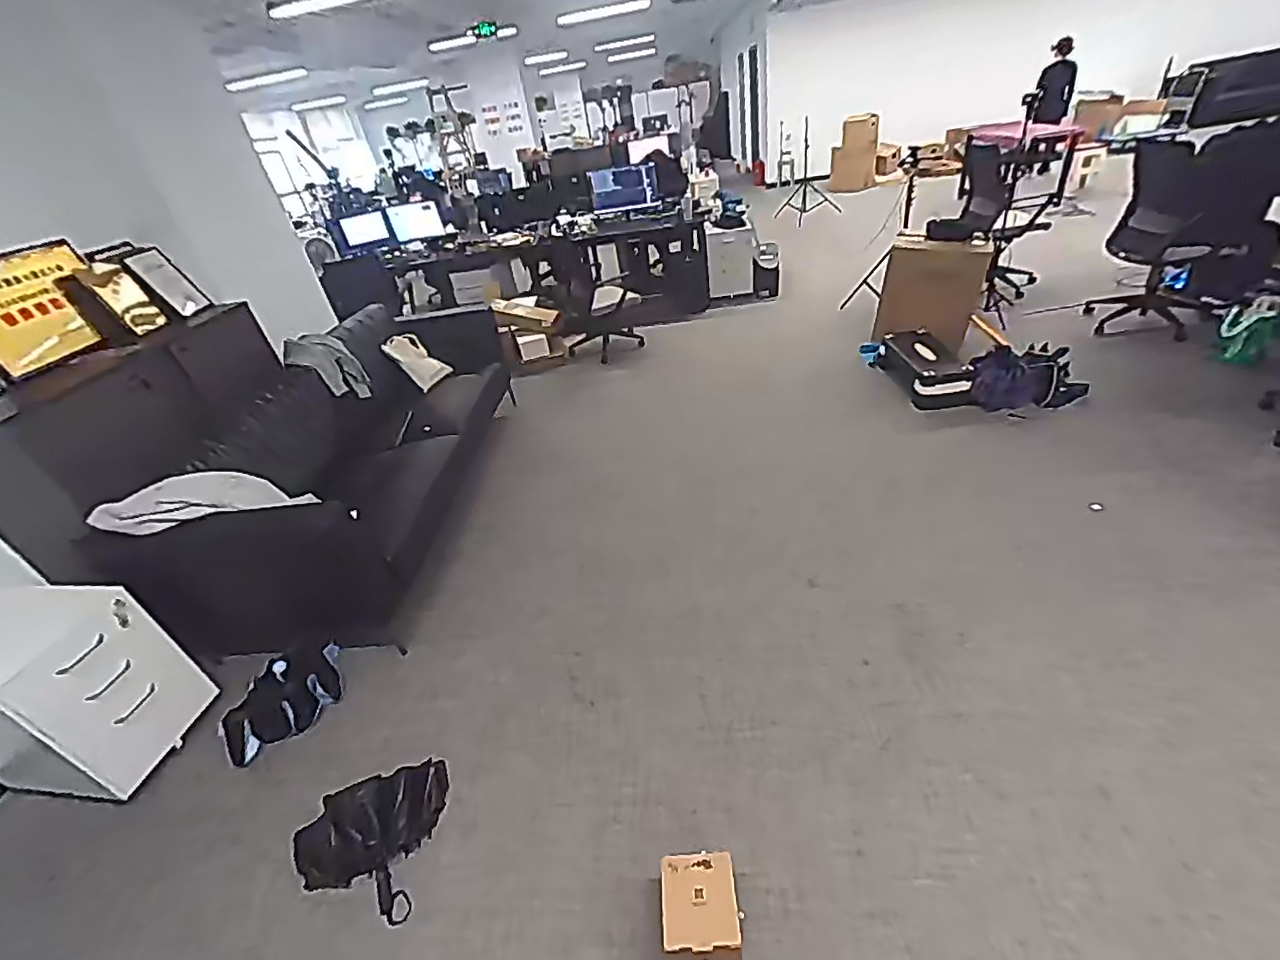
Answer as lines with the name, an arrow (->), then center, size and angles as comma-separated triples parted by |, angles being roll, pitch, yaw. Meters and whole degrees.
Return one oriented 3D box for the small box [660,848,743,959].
small box -> 0.140, 0.979, 1.241 | 0.168, 0.176, 0.179 | -8, 36, 5
